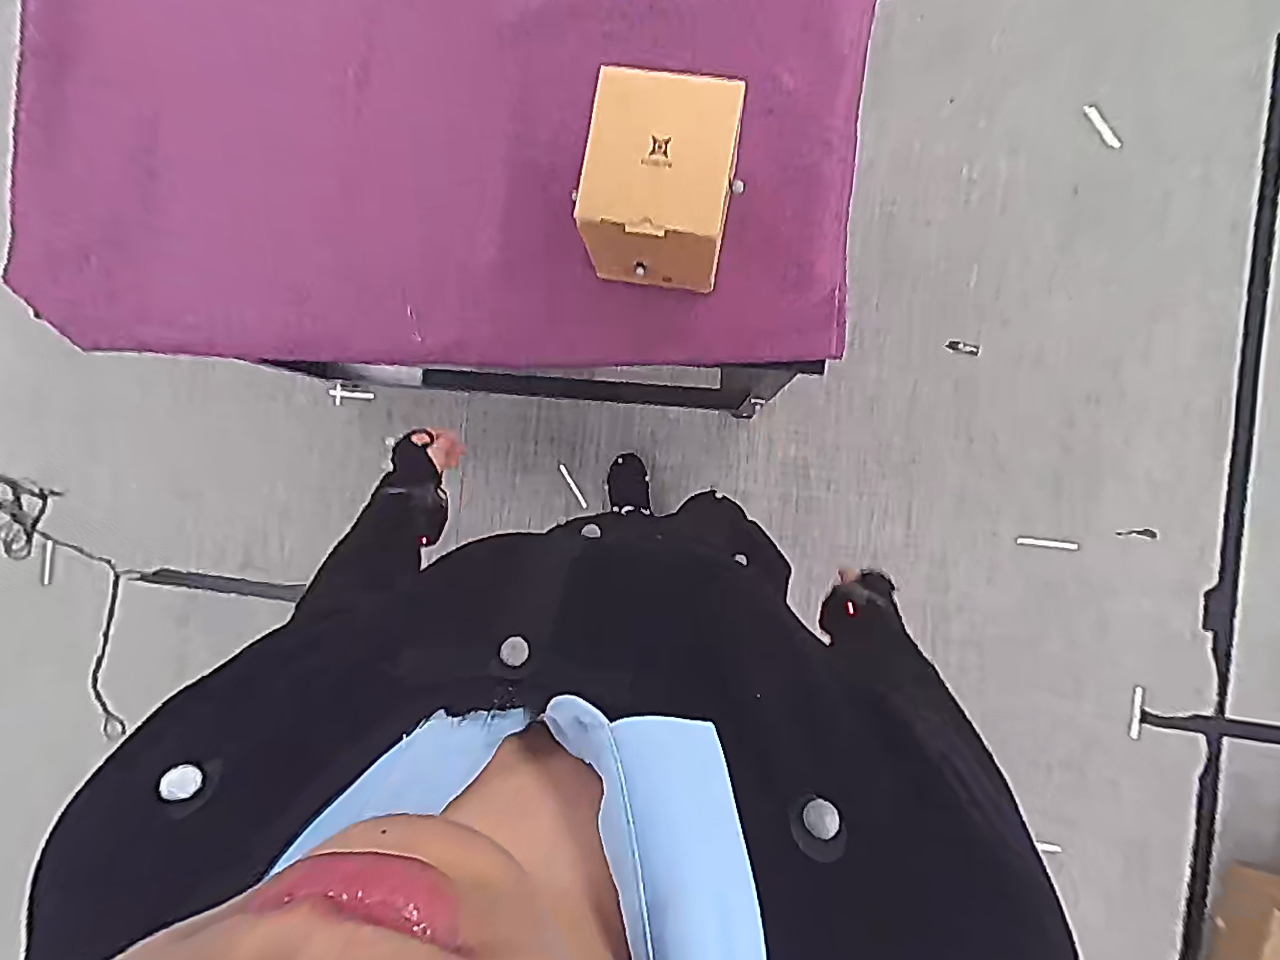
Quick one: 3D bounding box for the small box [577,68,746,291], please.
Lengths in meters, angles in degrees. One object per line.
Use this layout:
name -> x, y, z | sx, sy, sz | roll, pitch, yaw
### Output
small box -> 0.028, -0.363, 0.680 | 0.168, 0.176, 0.179 | 10, 90, 5
